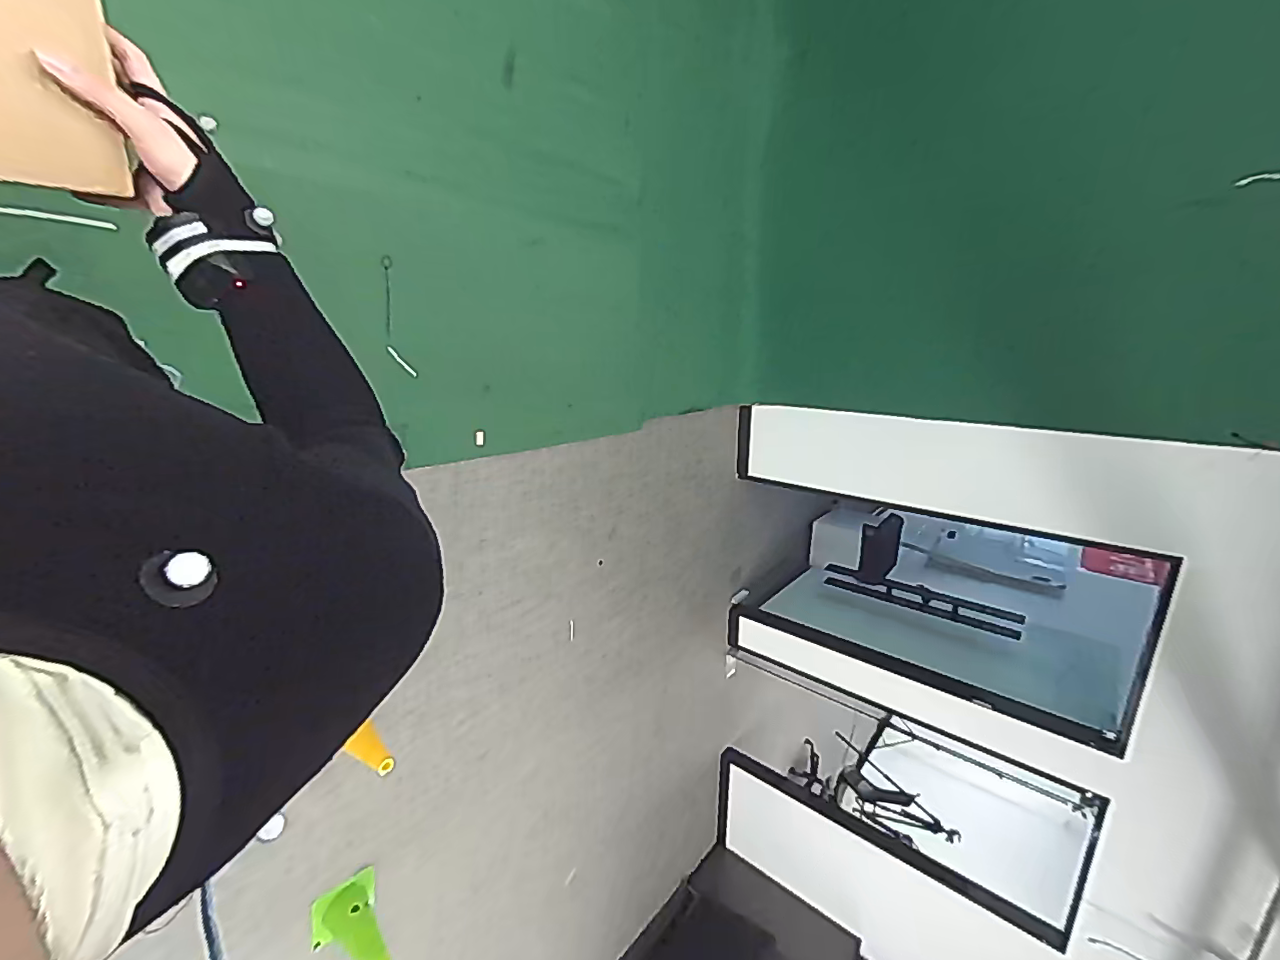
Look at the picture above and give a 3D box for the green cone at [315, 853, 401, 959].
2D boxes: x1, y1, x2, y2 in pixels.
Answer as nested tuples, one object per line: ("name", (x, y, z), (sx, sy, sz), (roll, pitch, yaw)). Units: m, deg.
("green cone", (-0.887, 1.462, 1.775), (0.200, 0.368, 0.202), (-9, 106, -50))
